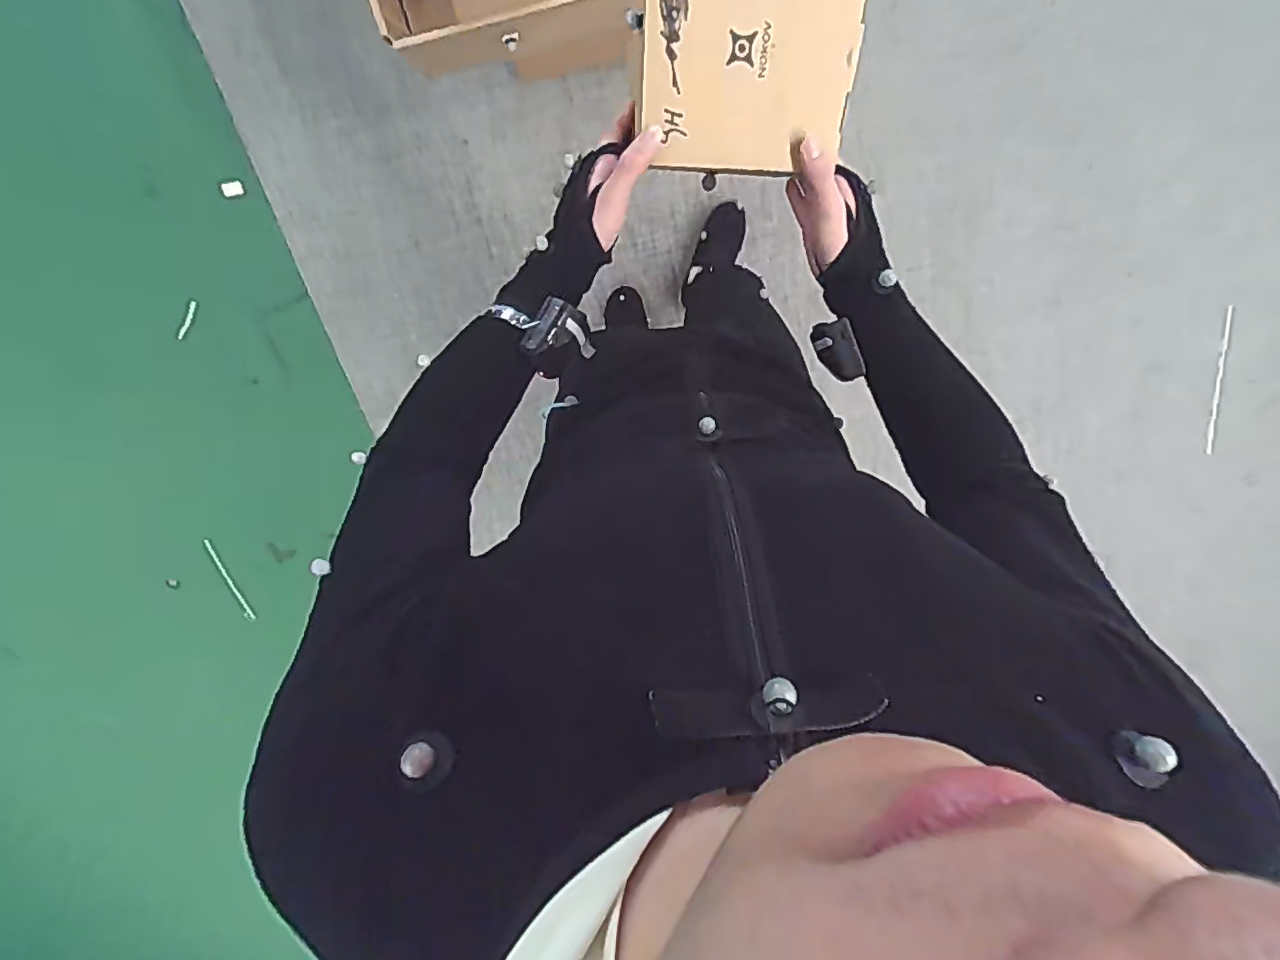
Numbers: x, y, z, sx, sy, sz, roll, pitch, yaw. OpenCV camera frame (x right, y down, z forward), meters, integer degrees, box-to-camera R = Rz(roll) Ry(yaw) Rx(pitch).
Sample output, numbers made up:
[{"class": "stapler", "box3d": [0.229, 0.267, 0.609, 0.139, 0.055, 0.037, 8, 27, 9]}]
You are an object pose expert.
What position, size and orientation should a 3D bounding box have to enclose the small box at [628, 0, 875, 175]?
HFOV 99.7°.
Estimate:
[{"class": "small box", "box3d": [0.086, -0.379, 0.494, 0.179, 0.176, 0.168, 0, 118, -6]}]
